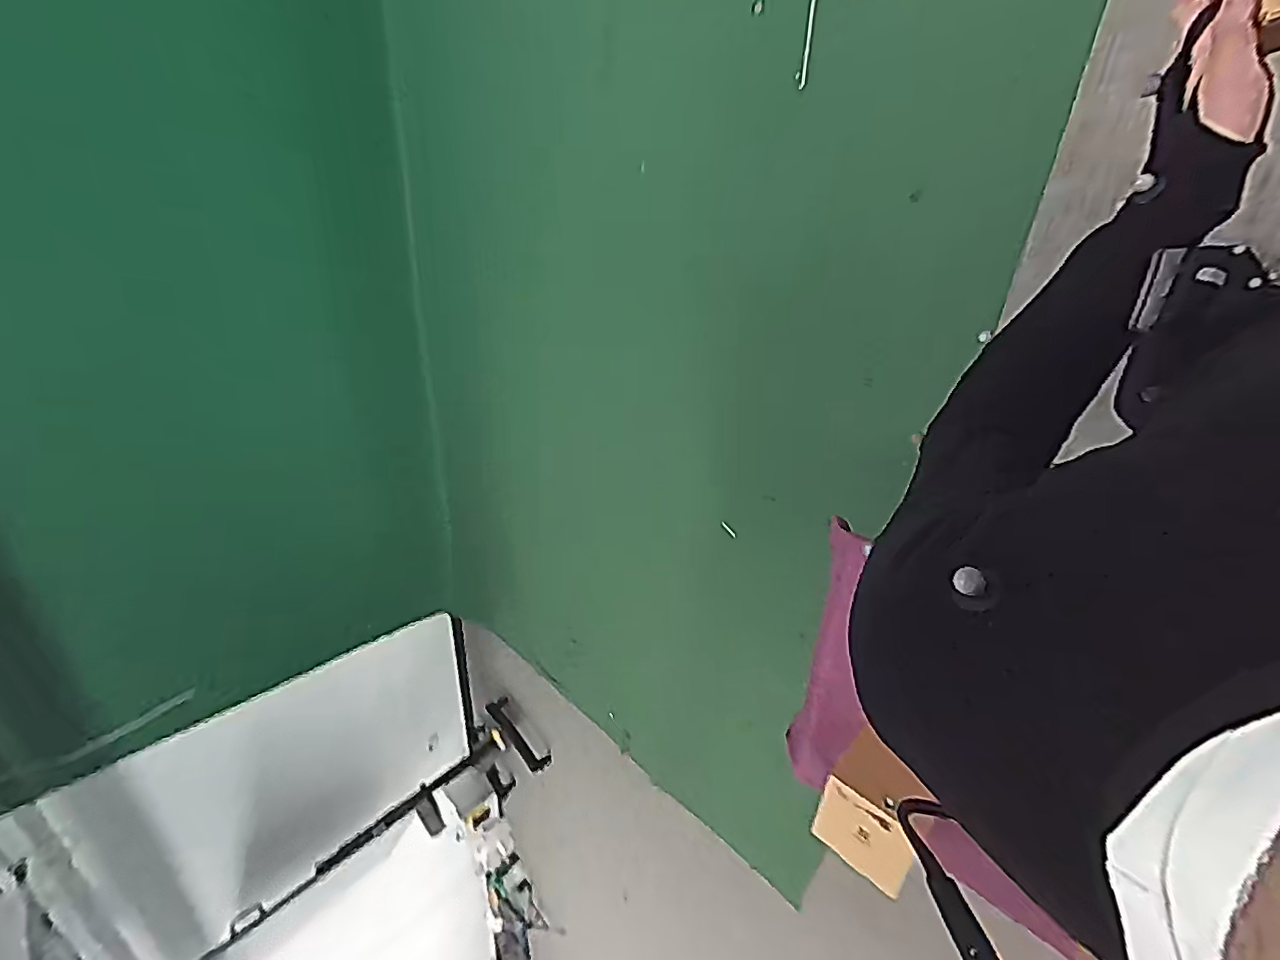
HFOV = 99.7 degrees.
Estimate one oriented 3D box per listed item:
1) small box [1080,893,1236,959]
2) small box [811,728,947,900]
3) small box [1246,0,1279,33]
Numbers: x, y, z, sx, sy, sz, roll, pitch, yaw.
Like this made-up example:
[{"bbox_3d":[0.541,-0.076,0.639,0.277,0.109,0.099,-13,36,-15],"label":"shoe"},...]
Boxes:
[{"bbox_3d":[0.748,0.762,0.773,0.168,0.176,0.179,22,120,38],"label":"small box"},{"bbox_3d":[0.451,0.617,1.018,0.168,0.176,0.179,25,123,36],"label":"small box"},{"bbox_3d":[0.459,-0.385,0.293,0.168,0.176,0.179,4,112,46],"label":"small box"}]
